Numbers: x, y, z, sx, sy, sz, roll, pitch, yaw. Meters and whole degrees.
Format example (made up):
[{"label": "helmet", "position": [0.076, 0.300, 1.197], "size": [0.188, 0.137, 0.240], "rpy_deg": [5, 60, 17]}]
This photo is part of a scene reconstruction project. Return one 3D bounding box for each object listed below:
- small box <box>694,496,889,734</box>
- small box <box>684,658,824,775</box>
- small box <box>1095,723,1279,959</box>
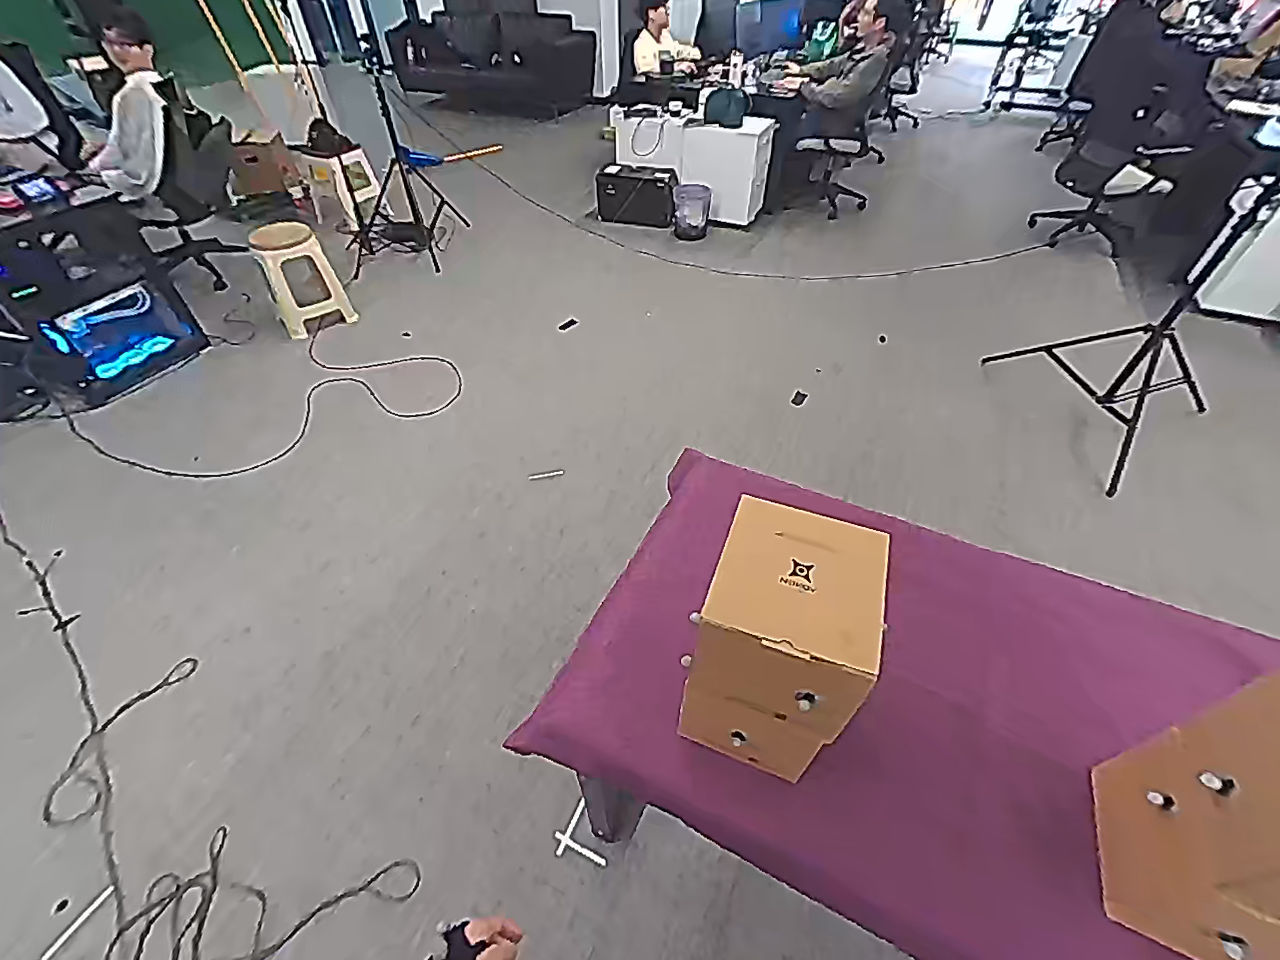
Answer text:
[{"label": "small box", "position": [0.162, 0.152, 0.605], "size": [0.168, 0.176, 0.179], "rpy_deg": [16, 46, 13]}, {"label": "small box", "position": [0.162, 0.260, 0.726], "size": [0.168, 0.176, 0.179], "rpy_deg": [17, 47, 15]}, {"label": "small box", "position": [0.640, 0.409, 0.586], "size": [0.168, 0.176, 0.179], "rpy_deg": [19, 48, 18]}]
